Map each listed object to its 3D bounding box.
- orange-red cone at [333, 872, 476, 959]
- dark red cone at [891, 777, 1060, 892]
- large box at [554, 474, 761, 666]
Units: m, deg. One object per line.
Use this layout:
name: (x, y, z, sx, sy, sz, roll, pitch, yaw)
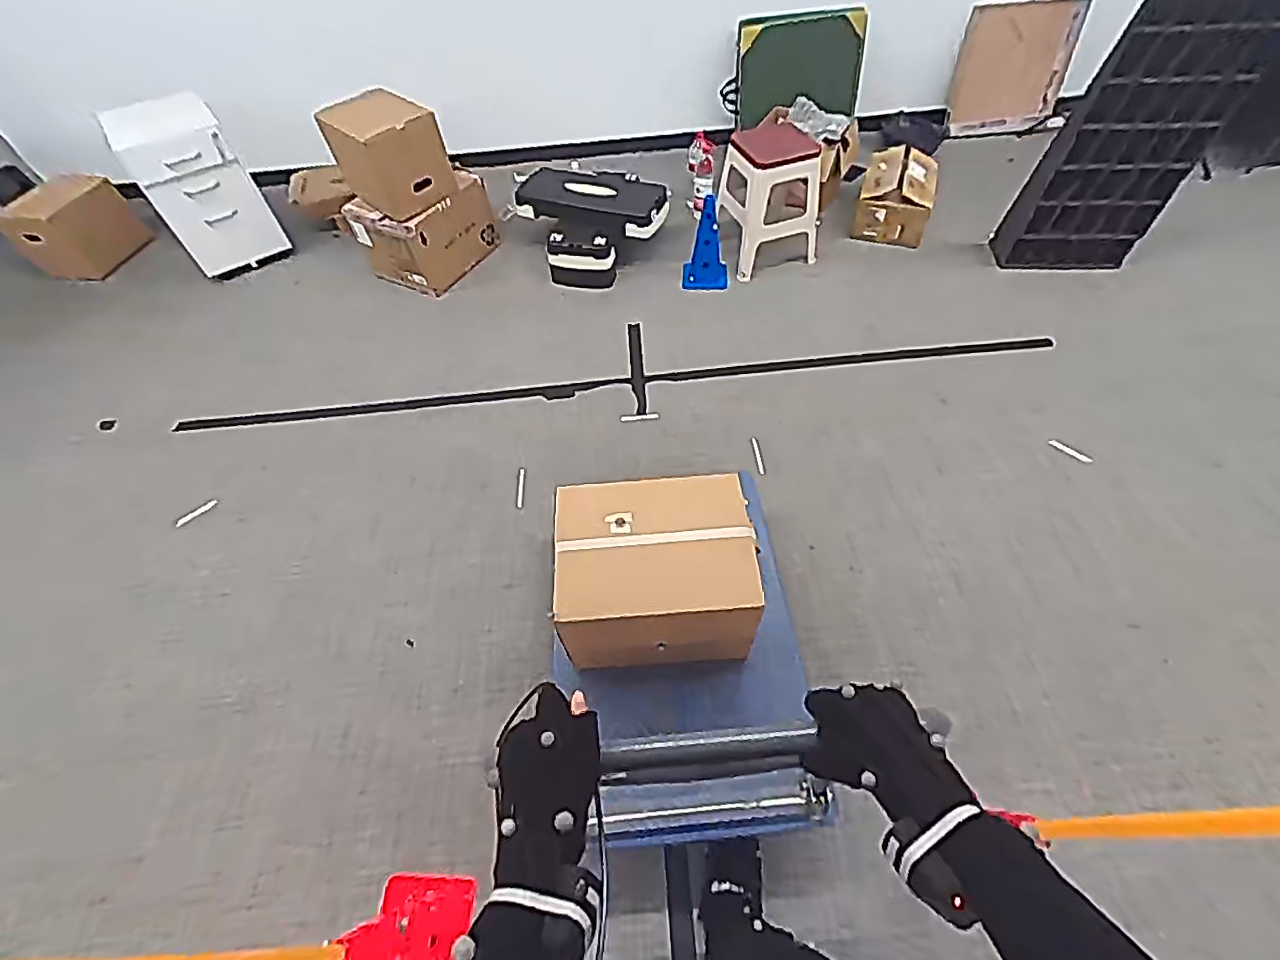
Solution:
orange-red cone: (-0.461, 0.840, 0.990, 0.198, 0.360, 0.199, 2, 53, 4)
dark red cone: (0.658, 0.660, 1.027, 0.201, 0.394, 0.202, -4, 54, -2)
large box: (0.033, 0.214, 1.231, 0.408, 0.320, 0.320, -5, 54, 0)
